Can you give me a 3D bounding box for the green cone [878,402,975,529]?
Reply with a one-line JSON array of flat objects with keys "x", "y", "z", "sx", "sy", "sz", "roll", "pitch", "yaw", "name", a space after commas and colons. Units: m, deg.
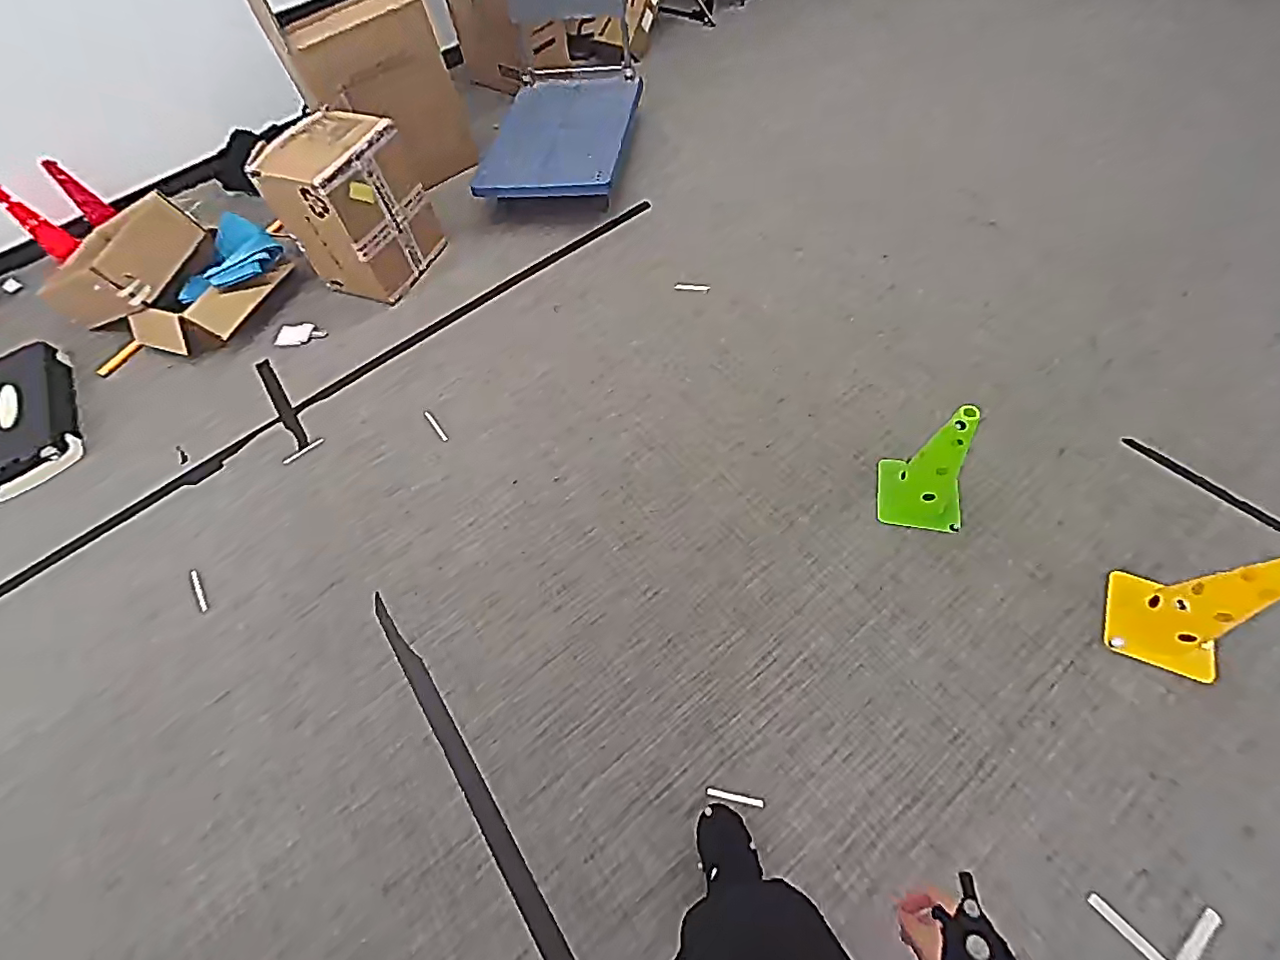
[{"x": 0.714, "y": -0.058, "z": 1.285, "sx": 0.202, "sy": 0.368, "sz": 0.200, "roll": 7, "pitch": 59, "yaw": 13, "name": "green cone"}]
